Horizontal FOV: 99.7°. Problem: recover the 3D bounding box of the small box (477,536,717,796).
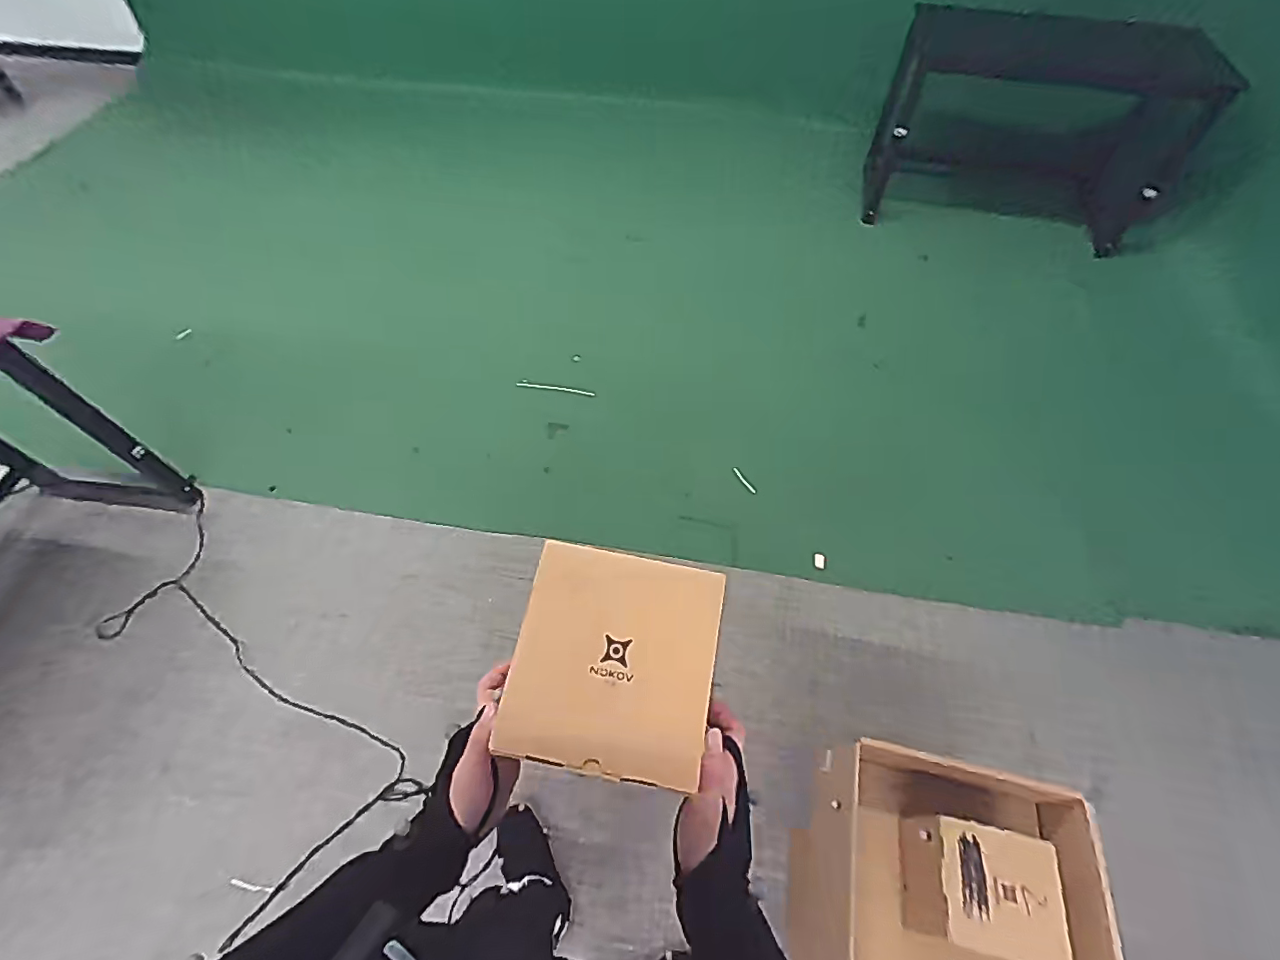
[{"bbox_3d":[-0.032,0.173,0.510,0.168,0.176,0.179,11,67,3],"label":"small box"}]
